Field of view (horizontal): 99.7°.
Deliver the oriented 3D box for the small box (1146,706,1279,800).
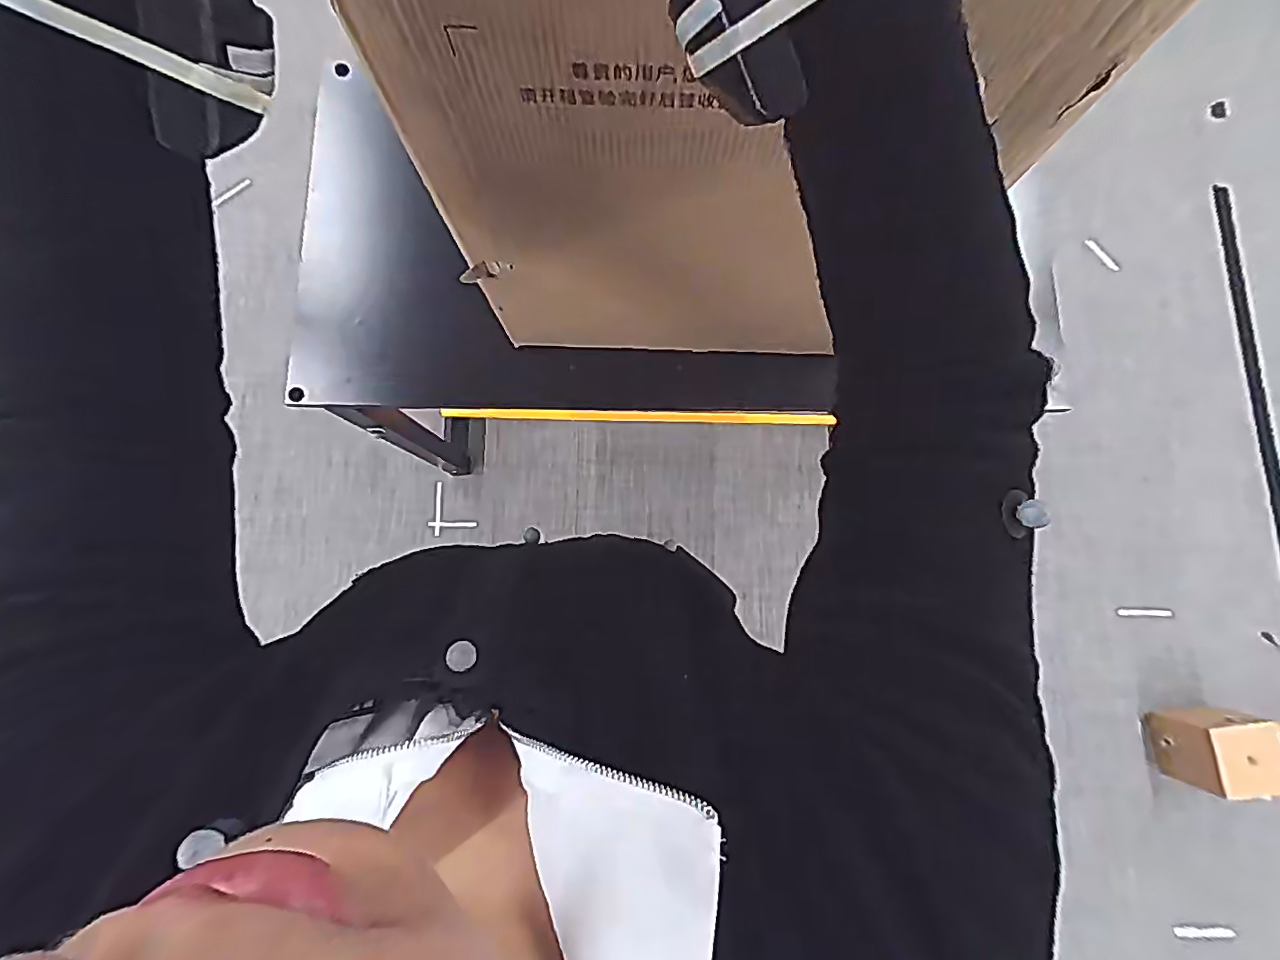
[{"bbox_3d":[1.467,0.687,1.380,0.179,0.176,0.168,-6,80,-1],"label":"small box"}]
